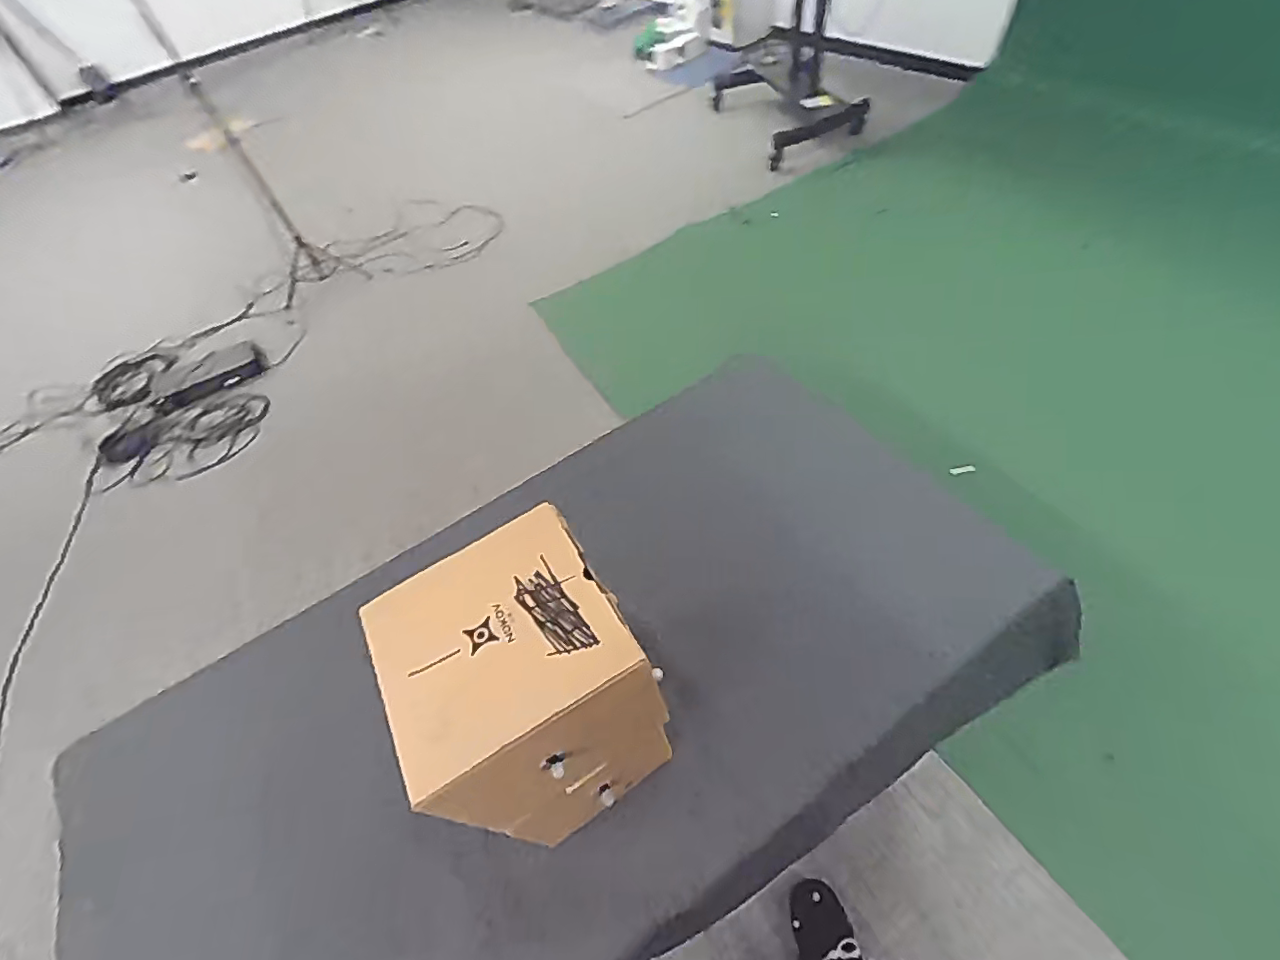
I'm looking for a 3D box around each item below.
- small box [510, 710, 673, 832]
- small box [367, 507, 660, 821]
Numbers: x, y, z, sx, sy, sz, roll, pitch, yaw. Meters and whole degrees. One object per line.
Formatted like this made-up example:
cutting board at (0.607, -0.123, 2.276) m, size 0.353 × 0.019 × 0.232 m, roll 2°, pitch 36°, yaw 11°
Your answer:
small box at (-0.079, 0.259, 0.605) m, size 0.168 × 0.176 × 0.179 m, roll -33°, pitch 55°, yaw -13°
small box at (-0.095, 0.162, 0.471) m, size 0.179 × 0.176 × 0.168 m, roll -31°, pitch 53°, yaw -11°
